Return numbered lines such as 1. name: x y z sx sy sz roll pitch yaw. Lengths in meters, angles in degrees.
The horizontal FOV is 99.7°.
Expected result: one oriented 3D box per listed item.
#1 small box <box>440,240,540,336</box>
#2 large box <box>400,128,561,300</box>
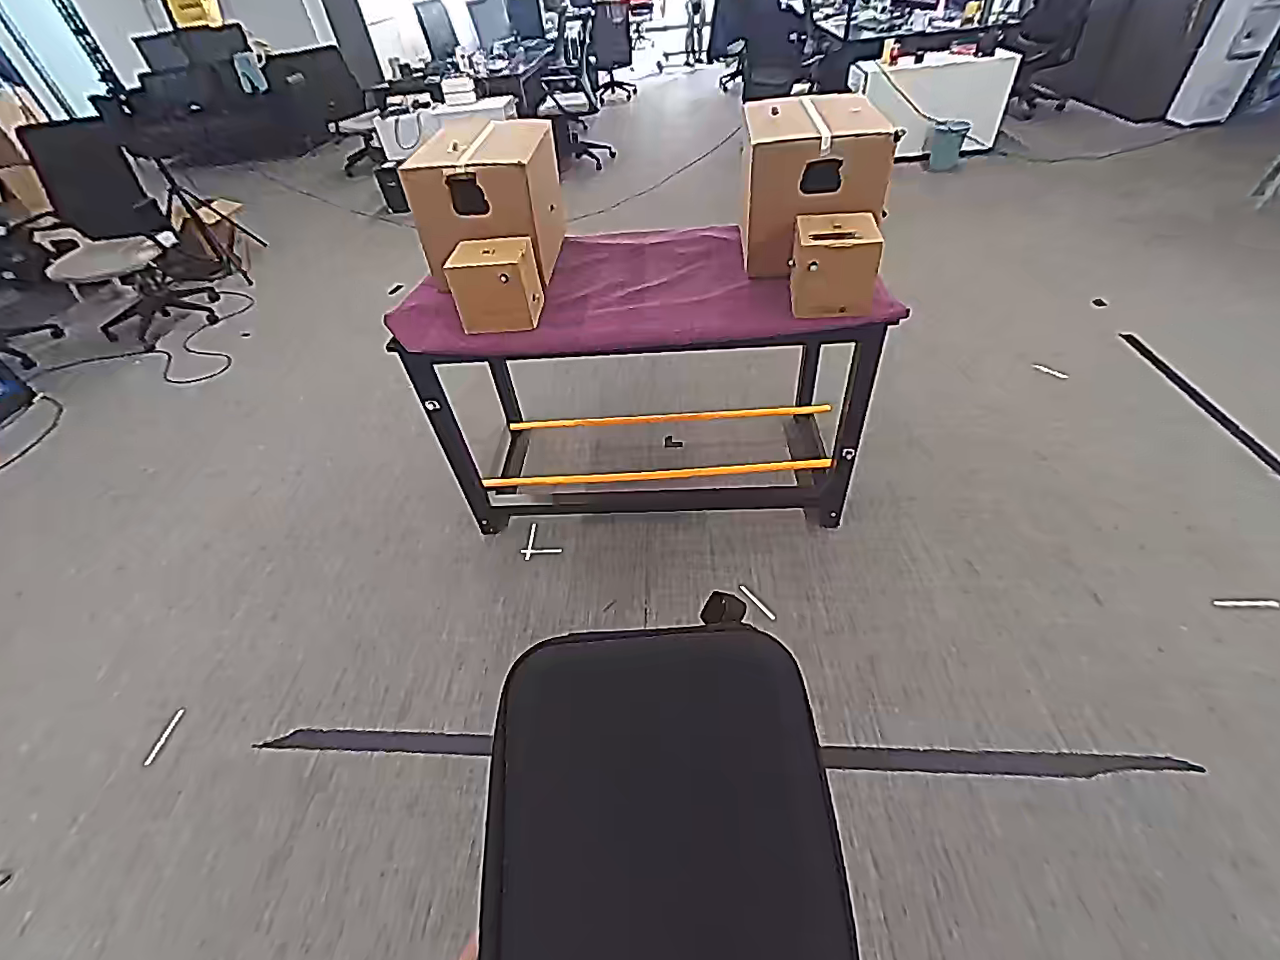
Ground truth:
1. small box: -0.356 -0.465 1.319 0.179 0.176 0.168 -3 43 3
2. large box: -0.410 -0.749 1.512 0.320 0.320 0.408 -2 47 3
